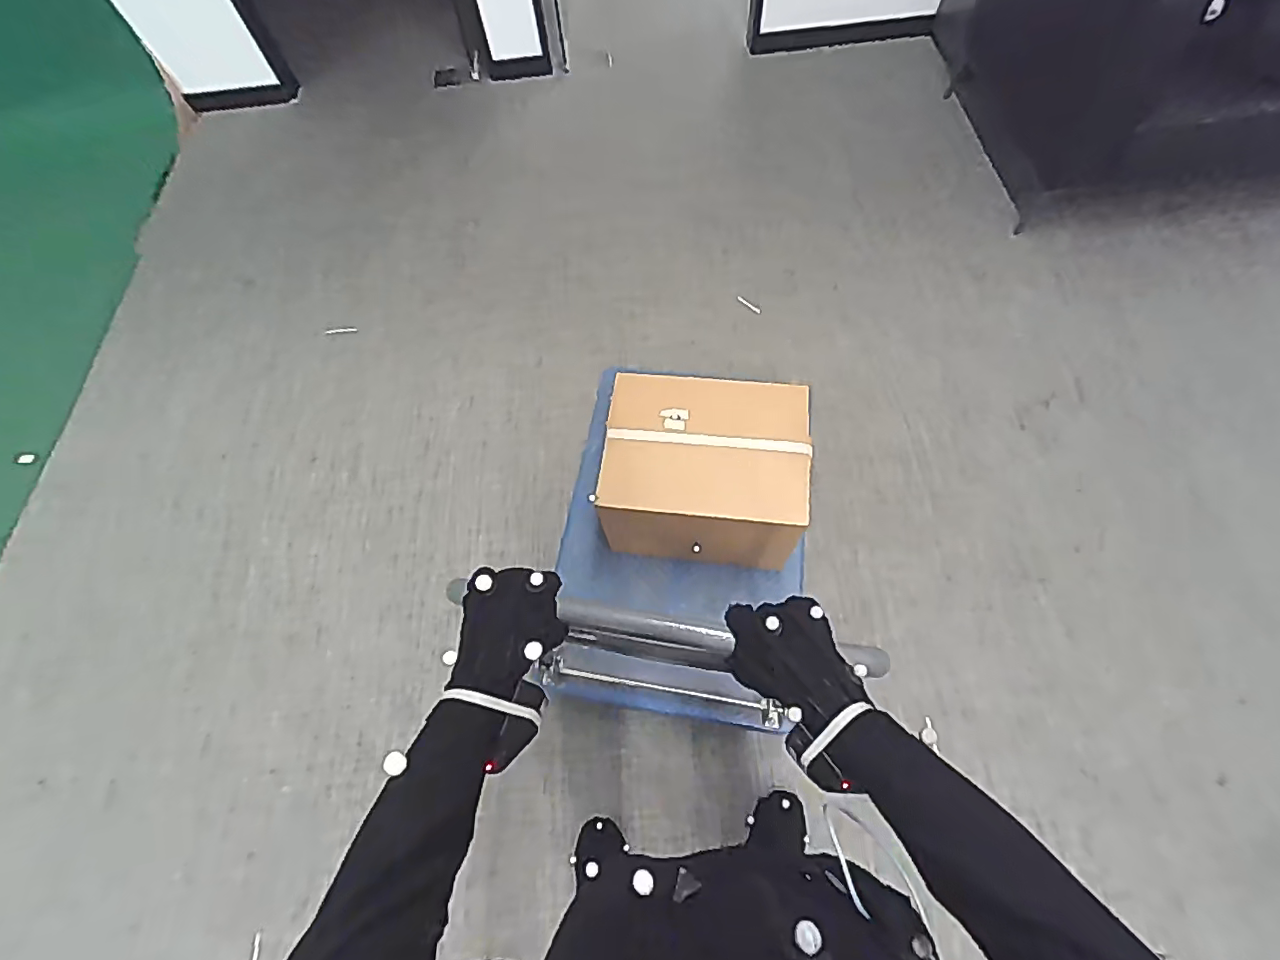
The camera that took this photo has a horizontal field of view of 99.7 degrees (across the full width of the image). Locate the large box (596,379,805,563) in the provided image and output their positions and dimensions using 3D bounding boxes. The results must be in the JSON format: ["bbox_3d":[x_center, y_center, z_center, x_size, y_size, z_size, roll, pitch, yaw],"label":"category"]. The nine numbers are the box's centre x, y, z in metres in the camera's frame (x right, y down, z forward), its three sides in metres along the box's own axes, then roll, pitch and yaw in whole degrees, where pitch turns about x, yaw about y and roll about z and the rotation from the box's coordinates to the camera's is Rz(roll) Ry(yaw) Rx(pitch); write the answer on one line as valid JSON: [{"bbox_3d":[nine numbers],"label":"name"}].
[{"bbox_3d":[0.139,-0.009,1.225,0.408,0.320,0.320,4,65,7],"label":"large box"}]
